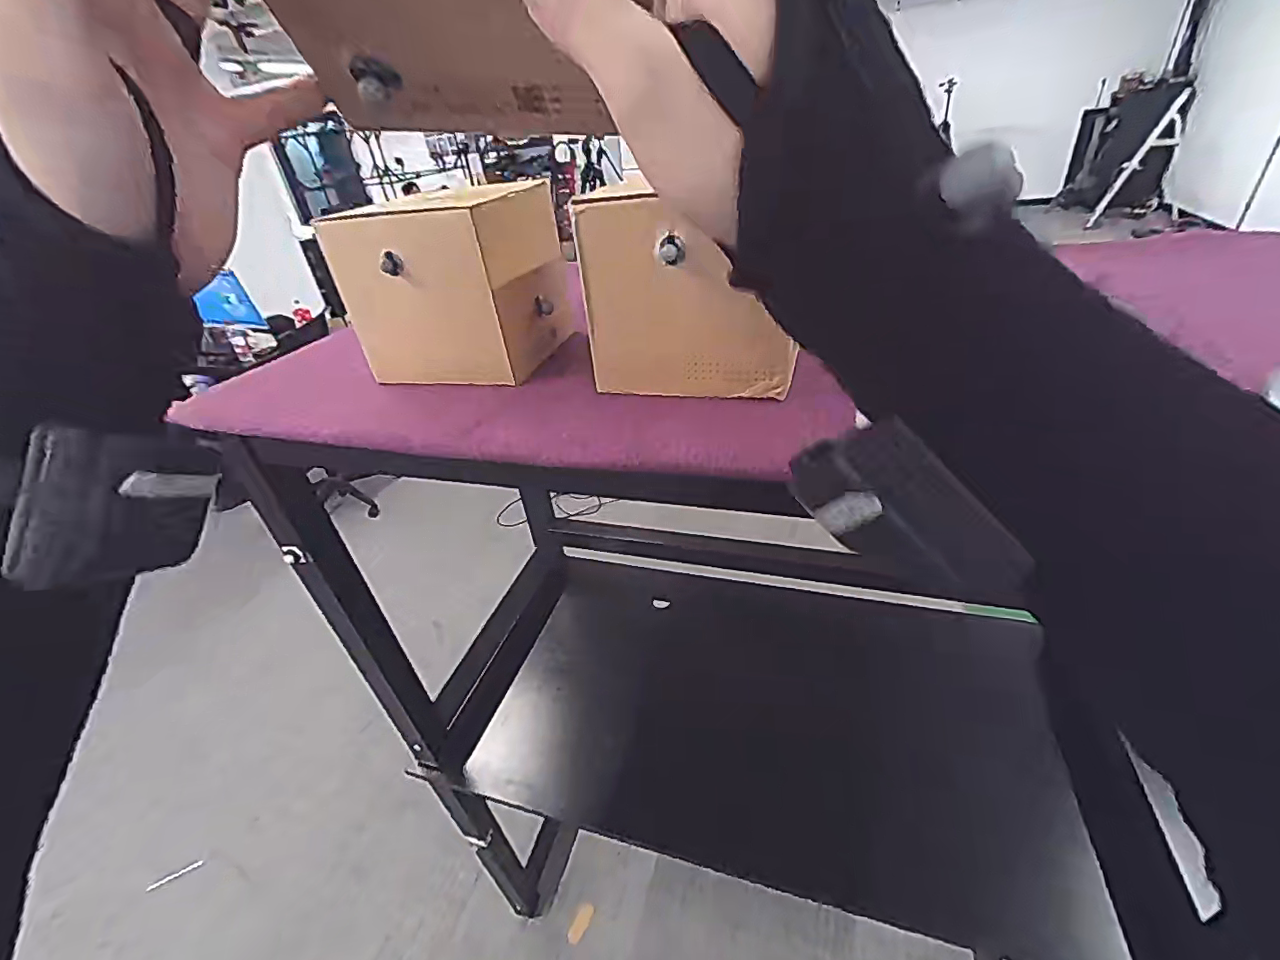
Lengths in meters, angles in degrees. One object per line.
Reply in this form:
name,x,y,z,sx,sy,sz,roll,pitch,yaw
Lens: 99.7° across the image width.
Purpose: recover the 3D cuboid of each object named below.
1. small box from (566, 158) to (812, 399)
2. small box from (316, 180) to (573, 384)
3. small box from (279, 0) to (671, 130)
small box,0.057,-0.184,0.497,0.179,0.176,0.168,6,36,19
small box,-0.193,-0.213,0.589,0.179,0.176,0.168,4,37,17
small box,-0.071,-0.280,0.224,0.168,0.176,0.179,5,75,7
